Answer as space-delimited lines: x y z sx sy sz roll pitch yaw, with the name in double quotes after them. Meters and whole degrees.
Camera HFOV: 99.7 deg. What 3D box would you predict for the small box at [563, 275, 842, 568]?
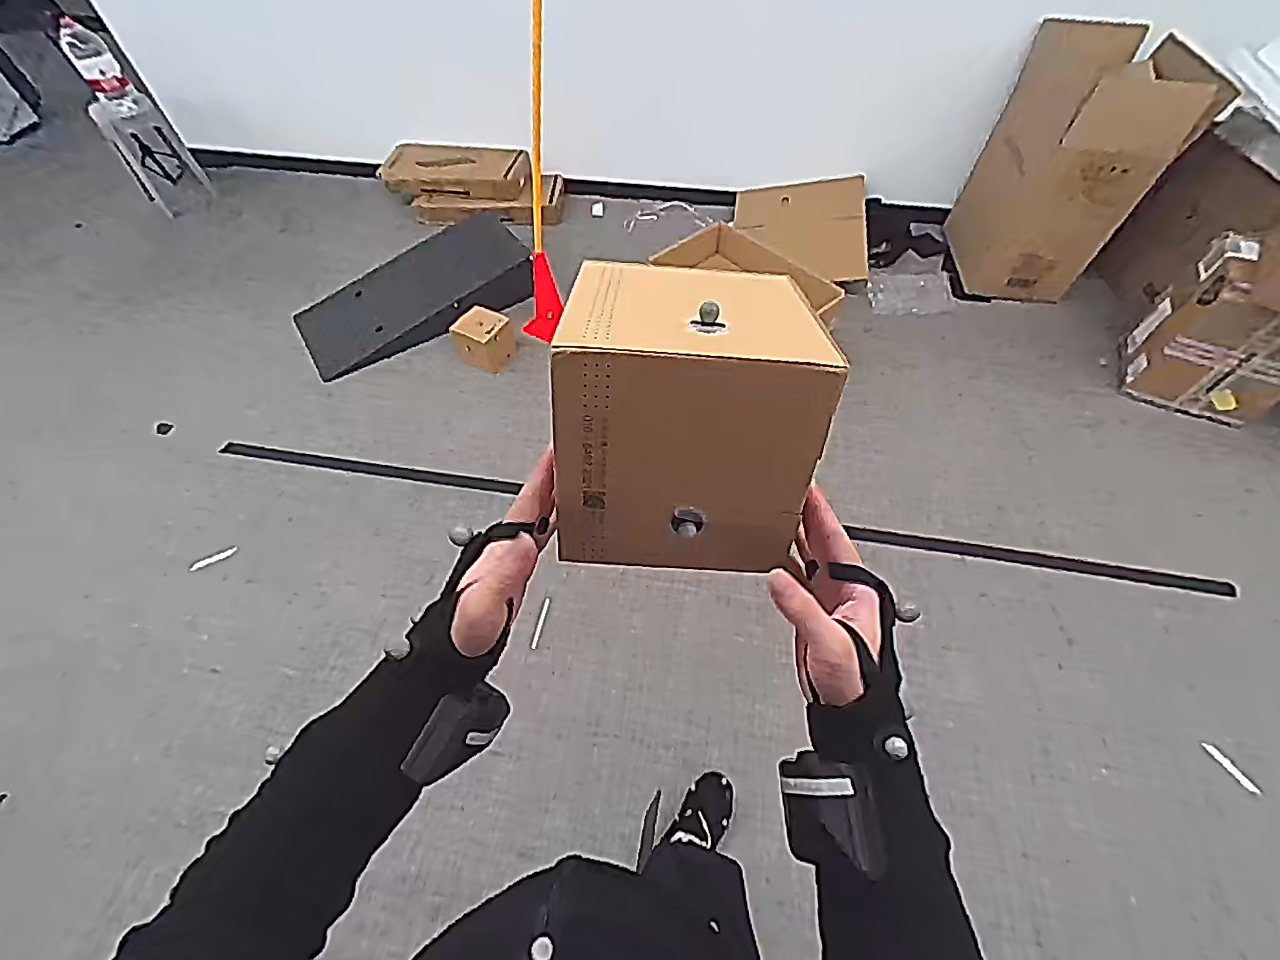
0.032 -0.052 0.425 0.176 0.168 0.179 4 36 -3 "small box"
